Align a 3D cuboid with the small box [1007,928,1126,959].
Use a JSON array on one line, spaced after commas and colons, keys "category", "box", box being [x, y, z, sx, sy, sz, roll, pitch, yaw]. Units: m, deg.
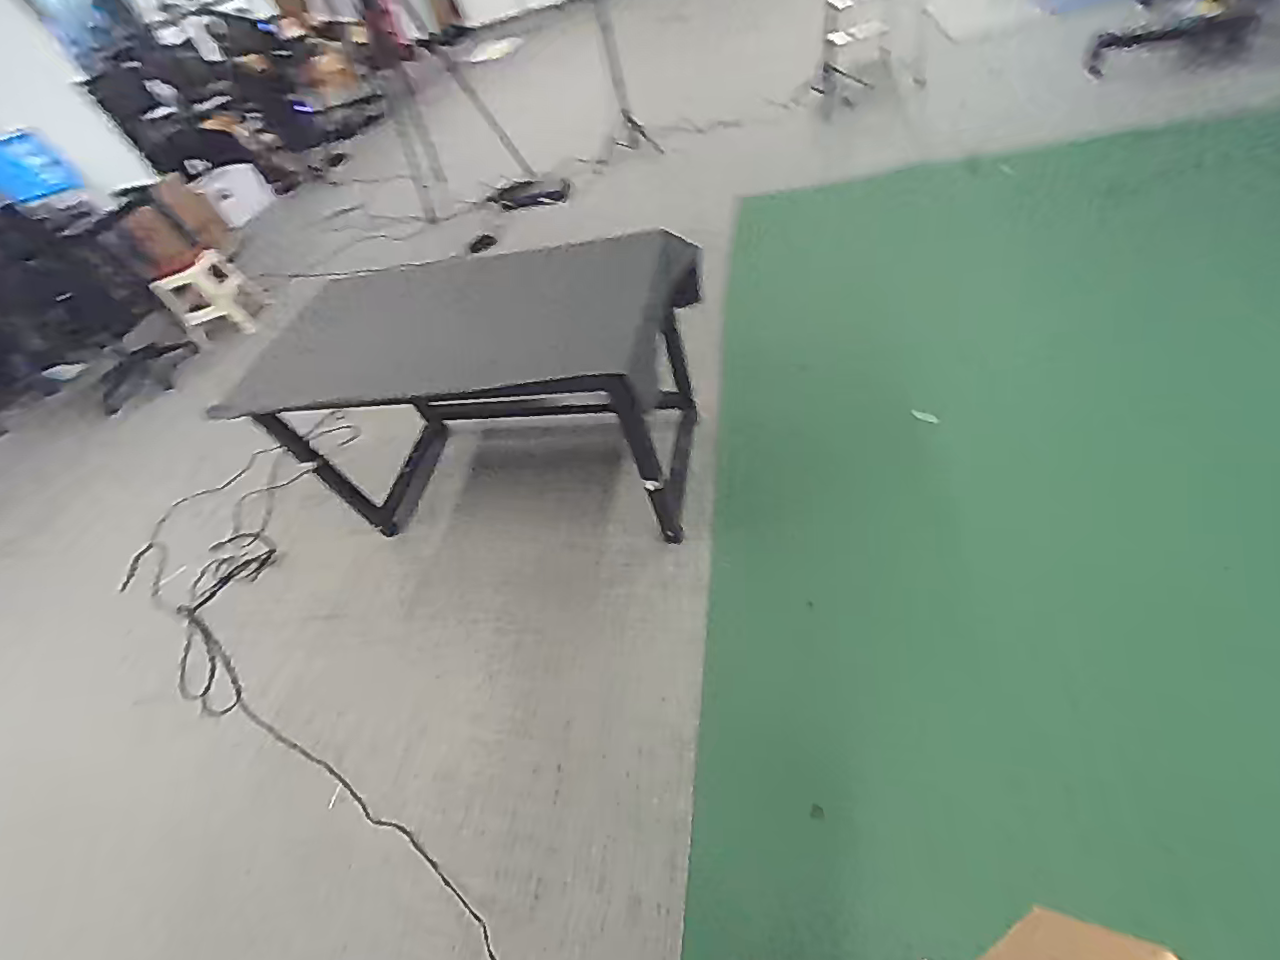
[{"category": "small box", "box": [0.363, 0.488, 0.405, 0.179, 0.176, 0.168, -31, 62, -12]}]
